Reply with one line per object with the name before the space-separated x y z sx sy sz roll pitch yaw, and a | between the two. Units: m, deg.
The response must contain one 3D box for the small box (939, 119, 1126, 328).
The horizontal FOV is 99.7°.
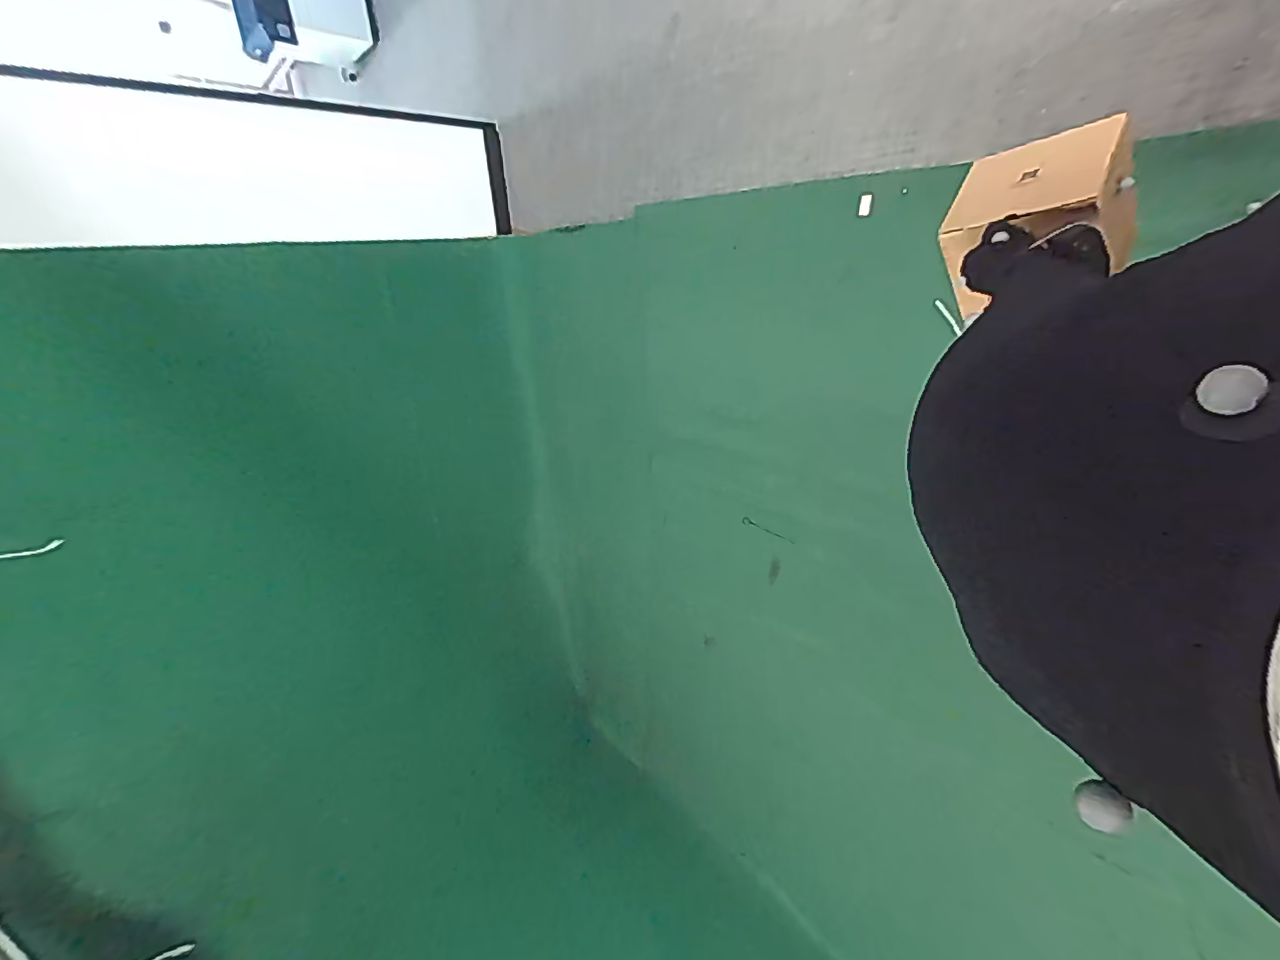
small box | 0.538 -0.334 0.735 0.168 0.179 0.176 7 147 49
